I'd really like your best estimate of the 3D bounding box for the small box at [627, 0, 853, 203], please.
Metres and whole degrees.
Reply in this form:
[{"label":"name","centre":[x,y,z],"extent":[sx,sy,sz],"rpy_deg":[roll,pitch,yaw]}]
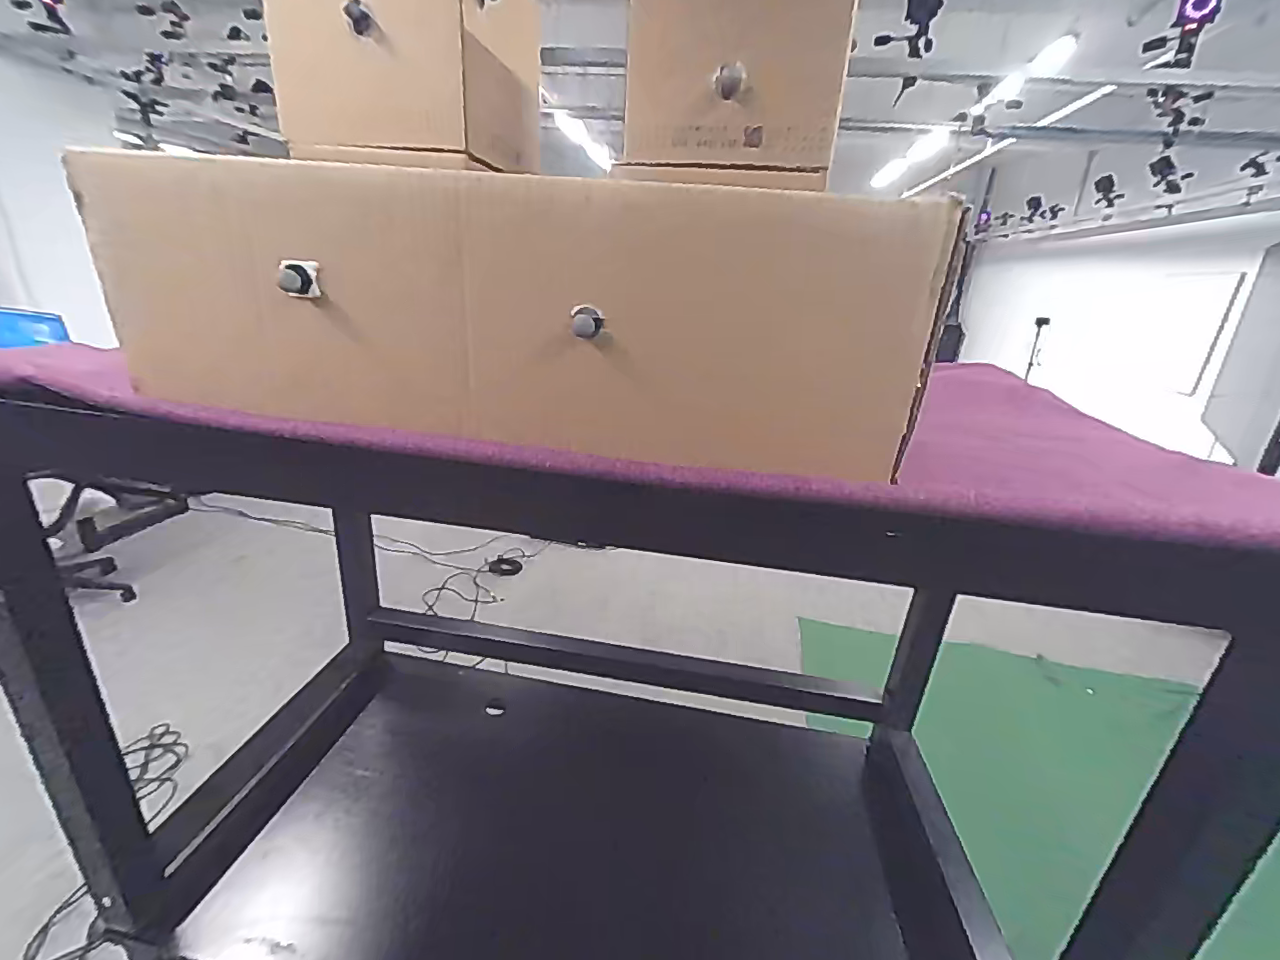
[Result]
[{"label":"small box","centre":[0.085,-0.348,0.479],"extent":[0.168,0.176,0.179],"rpy_deg":[6,20,10]}]
